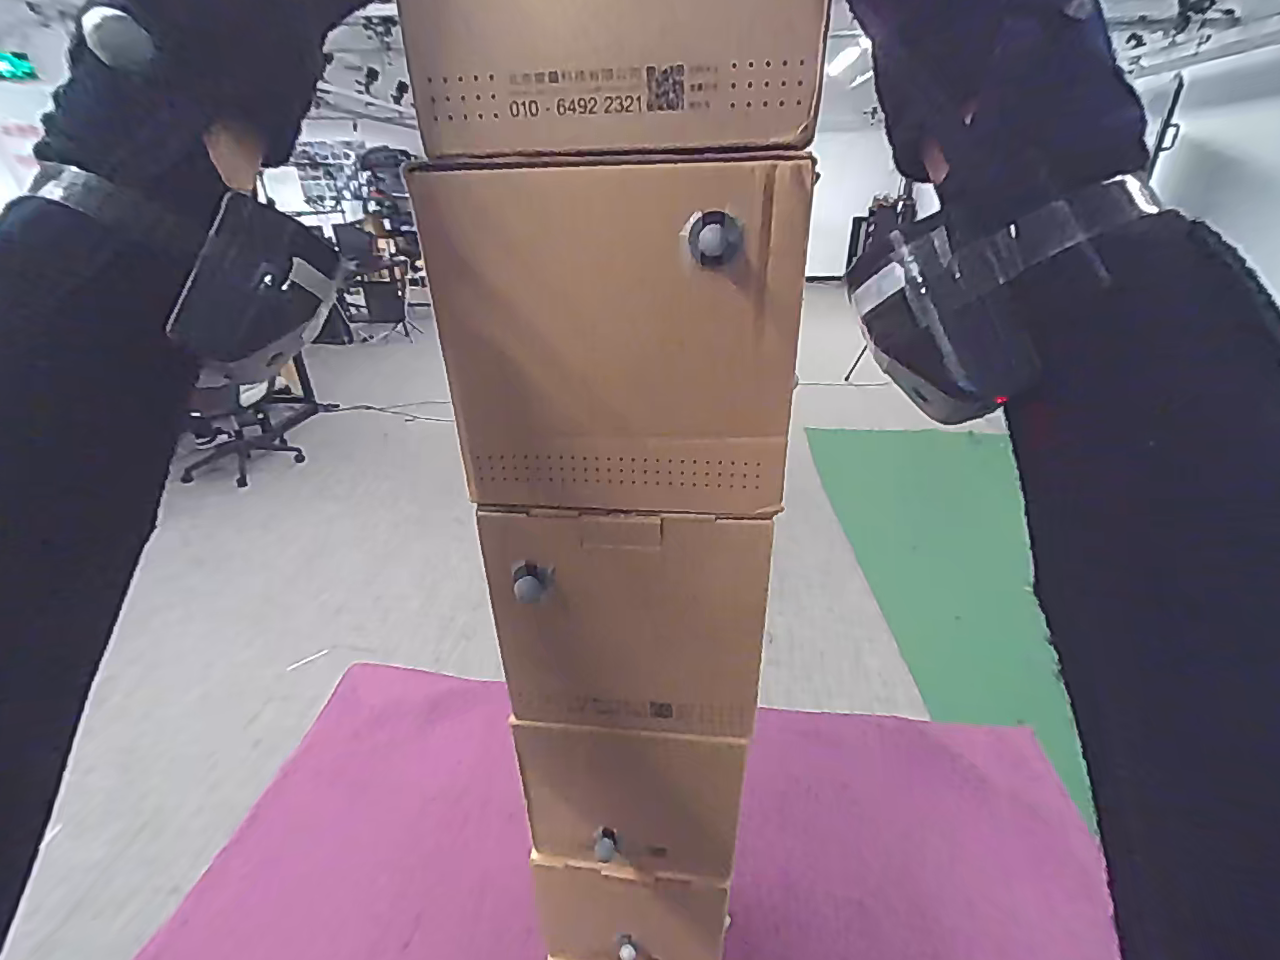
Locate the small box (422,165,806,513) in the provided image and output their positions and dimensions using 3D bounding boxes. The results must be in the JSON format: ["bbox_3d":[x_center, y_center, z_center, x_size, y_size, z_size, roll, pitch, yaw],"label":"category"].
[{"bbox_3d":[-0.003,-0.090,0.339,0.179,0.176,0.168,2,26,7],"label":"small box"}]

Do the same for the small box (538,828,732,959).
[{"bbox_3d":[0.005,0.351,0.552,0.168,0.176,0.179,2,28,7],"label":"small box"}]

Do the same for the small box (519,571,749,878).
[{"bbox_3d":[0.004,0.204,0.481,0.168,0.176,0.179,2,28,7],"label":"small box"}]

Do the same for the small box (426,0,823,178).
[{"bbox_3d":[-0.003,-0.242,0.276,0.168,0.176,0.179,0,25,5],"label":"small box"}]
